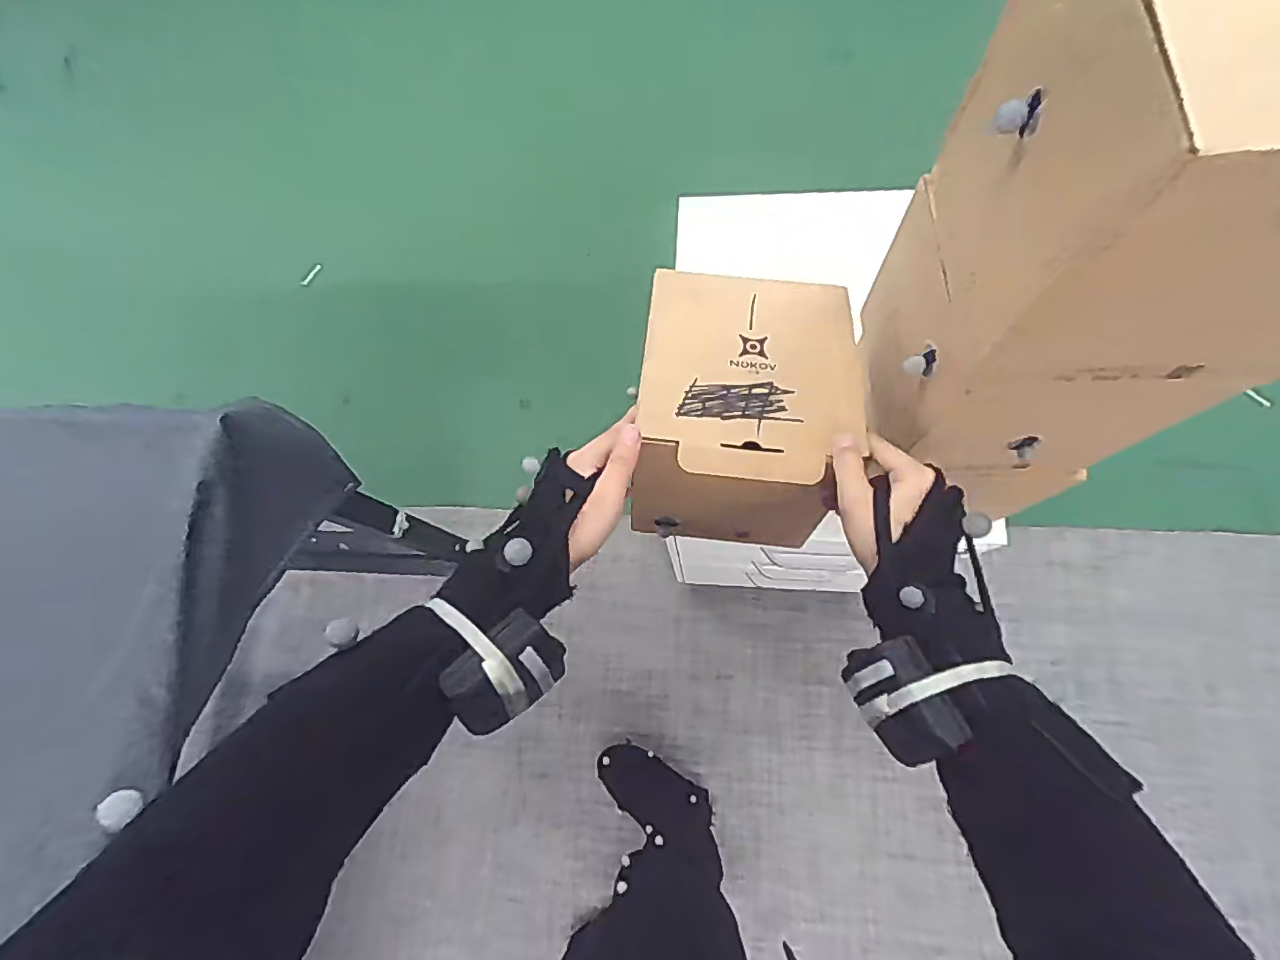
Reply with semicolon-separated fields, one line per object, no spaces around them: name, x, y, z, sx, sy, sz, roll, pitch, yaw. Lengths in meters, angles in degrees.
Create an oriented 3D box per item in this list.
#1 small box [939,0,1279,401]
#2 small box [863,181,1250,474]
small box;0.273;-0.157;0.270;0.168;0.176;0.179;0;71;7
small box;0.289;-0.106;0.425;0.168;0.176;0.179;-2;72;5
